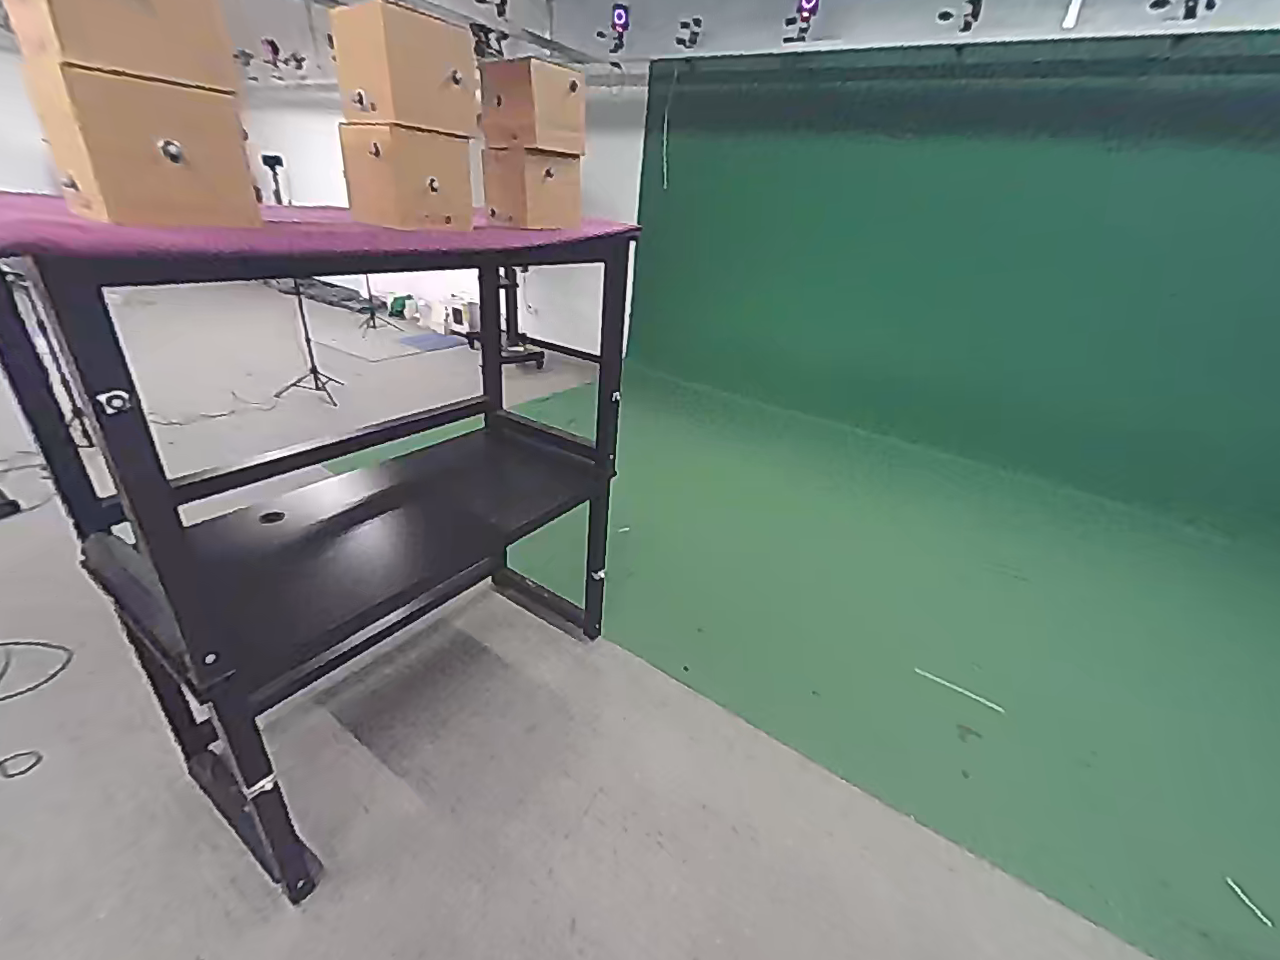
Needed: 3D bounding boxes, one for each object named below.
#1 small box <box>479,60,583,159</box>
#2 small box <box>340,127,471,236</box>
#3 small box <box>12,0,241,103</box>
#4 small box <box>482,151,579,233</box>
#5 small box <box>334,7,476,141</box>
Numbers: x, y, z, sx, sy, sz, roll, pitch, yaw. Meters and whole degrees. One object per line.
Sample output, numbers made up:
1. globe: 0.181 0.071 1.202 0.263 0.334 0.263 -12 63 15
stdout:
1. small box: -0.246 -0.846 1.255 0.168 0.176 0.179 21 32 30
2. small box: -0.448 -0.575 1.053 0.179 0.176 0.168 23 31 30
3. small box: -0.638 -0.580 0.664 0.168 0.176 0.179 23 33 29
4. small box: -0.266 -0.707 1.338 0.168 0.176 0.179 24 33 34
5. small box: -0.418 -0.719 0.981 0.168 0.176 0.179 22 32 30
